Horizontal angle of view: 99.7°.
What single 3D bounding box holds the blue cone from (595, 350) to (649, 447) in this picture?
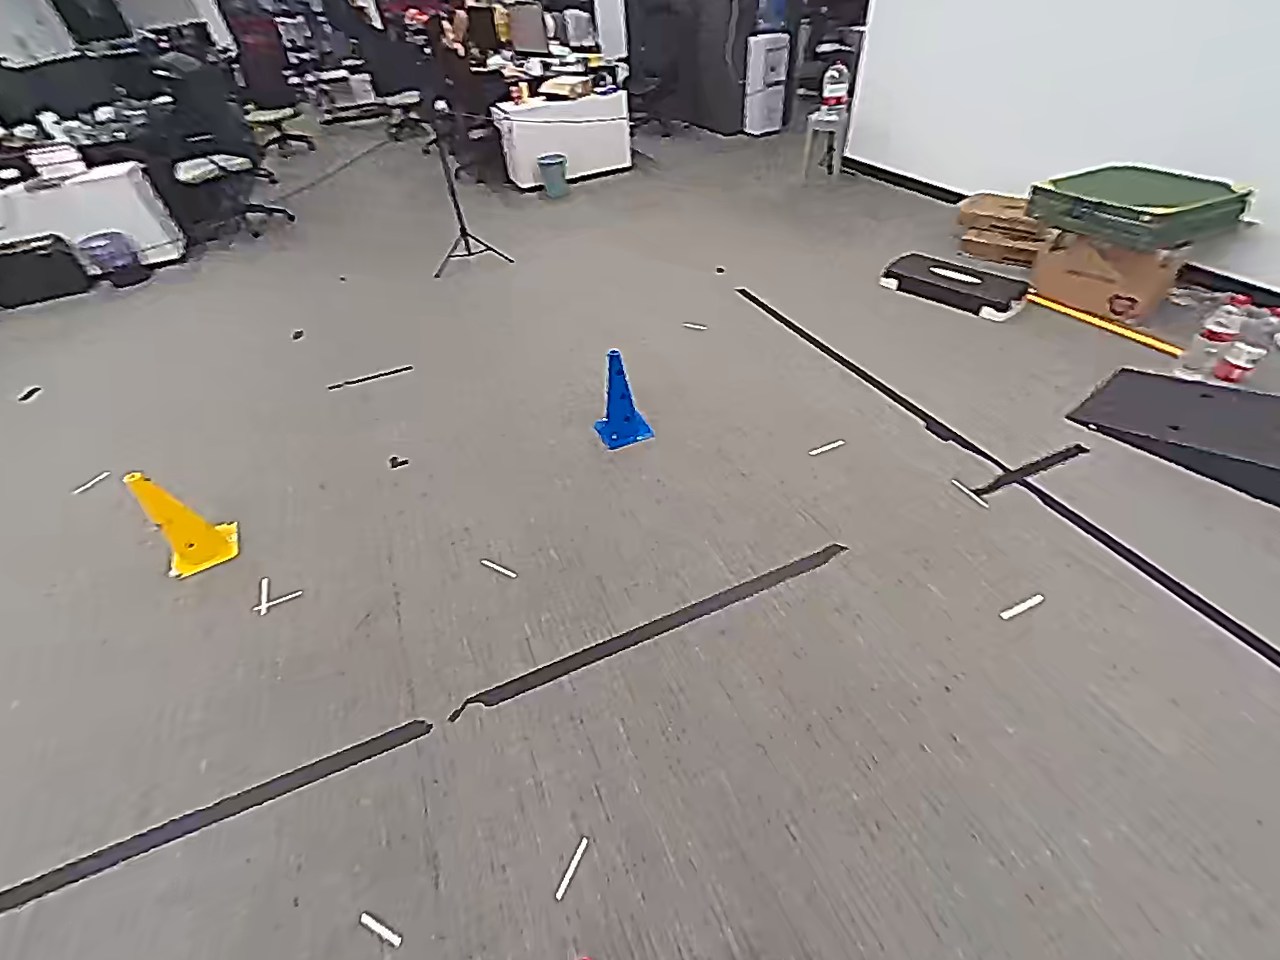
[{"bbox_3d":[-0.085,-0.324,2.100,0.193,0.380,0.192,-19,44,-14],"label":"blue cone"}]
